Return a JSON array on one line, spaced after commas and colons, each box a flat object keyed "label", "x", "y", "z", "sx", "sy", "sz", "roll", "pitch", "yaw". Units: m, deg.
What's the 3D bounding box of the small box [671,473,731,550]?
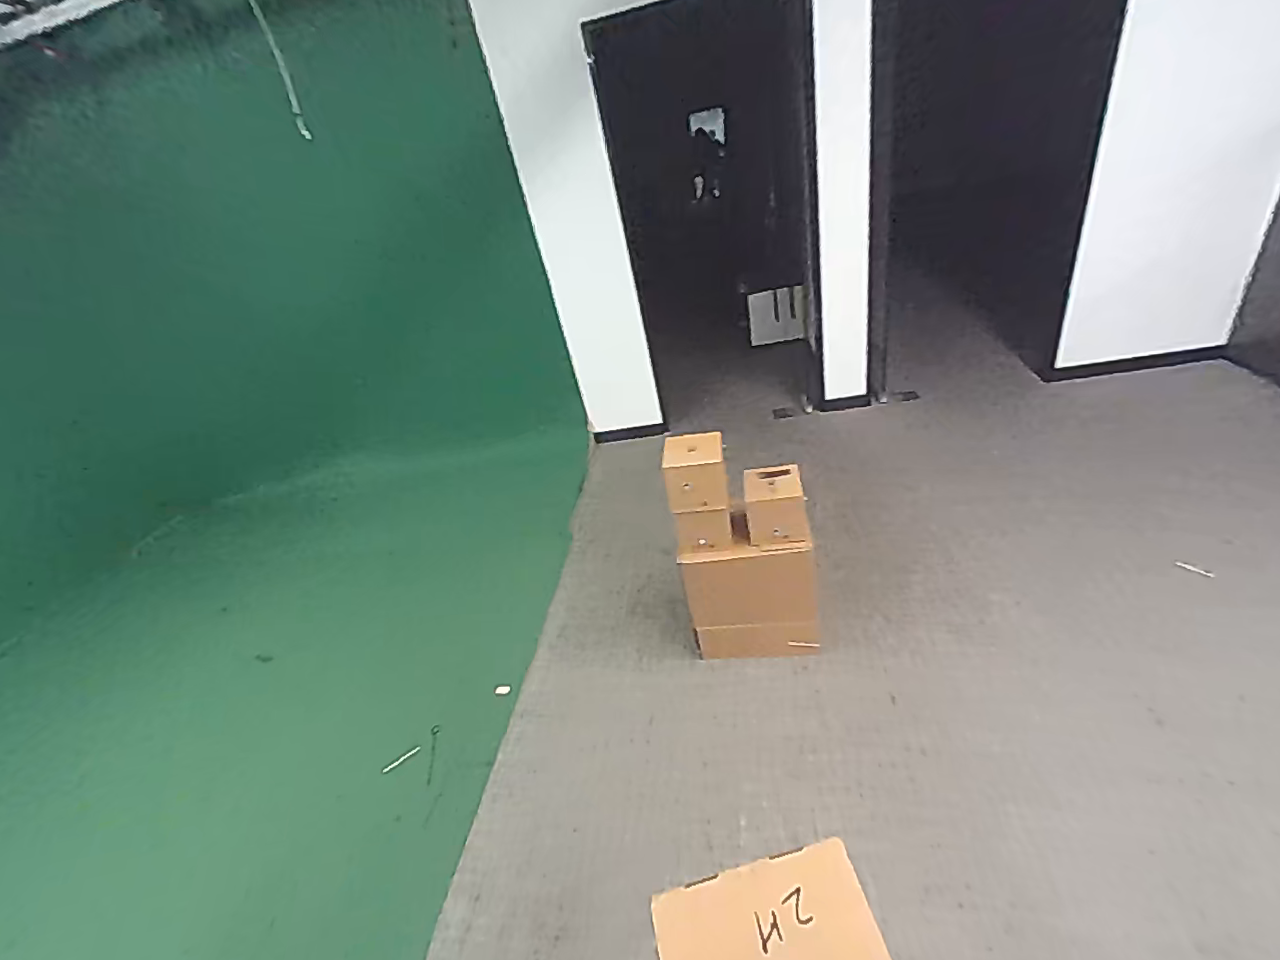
[{"label": "small box", "x": 0.196, "y": 0.099, "z": 1.704, "sx": 0.168, "sy": 0.176, "sz": 0.179, "roll": -5, "pitch": 34, "yaw": 11}]

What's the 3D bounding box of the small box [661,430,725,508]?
[{"label": "small box", "x": 0.162, "y": -0.027, "z": 1.607, "sx": 0.168, "sy": 0.176, "sz": 0.179, "roll": -6, "pitch": 33, "yaw": 11}]

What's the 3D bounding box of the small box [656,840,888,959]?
[{"label": "small box", "x": 0.125, "y": 0.432, "z": 0.450, "sx": 0.168, "sy": 0.176, "sz": 0.179, "roll": -17, "pitch": 46, "yaw": 2}]
